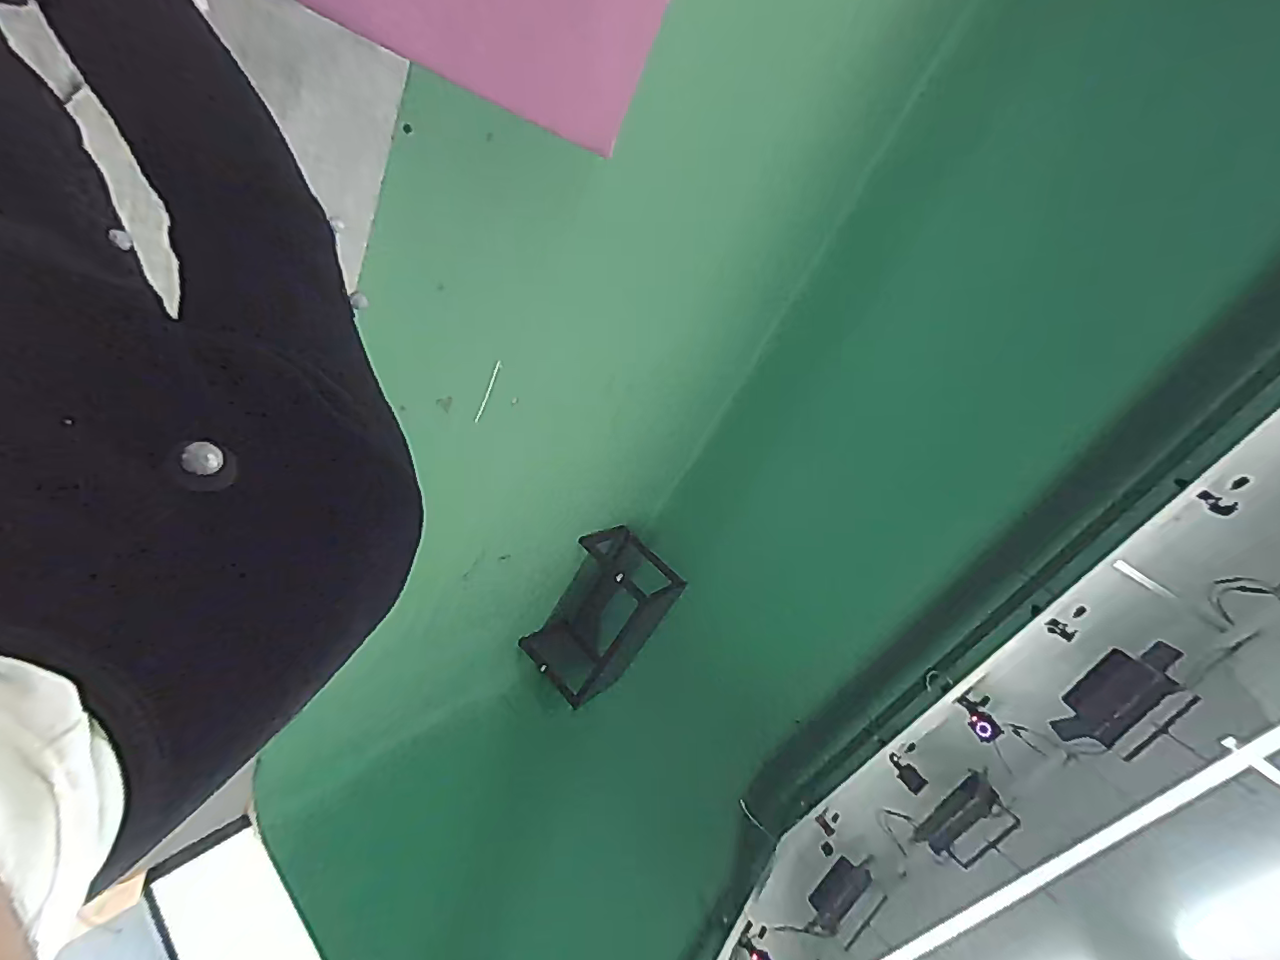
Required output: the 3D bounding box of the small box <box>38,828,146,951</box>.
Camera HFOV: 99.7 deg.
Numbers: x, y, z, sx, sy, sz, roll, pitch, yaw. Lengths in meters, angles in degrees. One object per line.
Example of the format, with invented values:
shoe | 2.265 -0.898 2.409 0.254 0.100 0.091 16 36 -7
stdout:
small box | -1.469 1.086 1.449 0.168 0.176 0.179 -9 135 -58
